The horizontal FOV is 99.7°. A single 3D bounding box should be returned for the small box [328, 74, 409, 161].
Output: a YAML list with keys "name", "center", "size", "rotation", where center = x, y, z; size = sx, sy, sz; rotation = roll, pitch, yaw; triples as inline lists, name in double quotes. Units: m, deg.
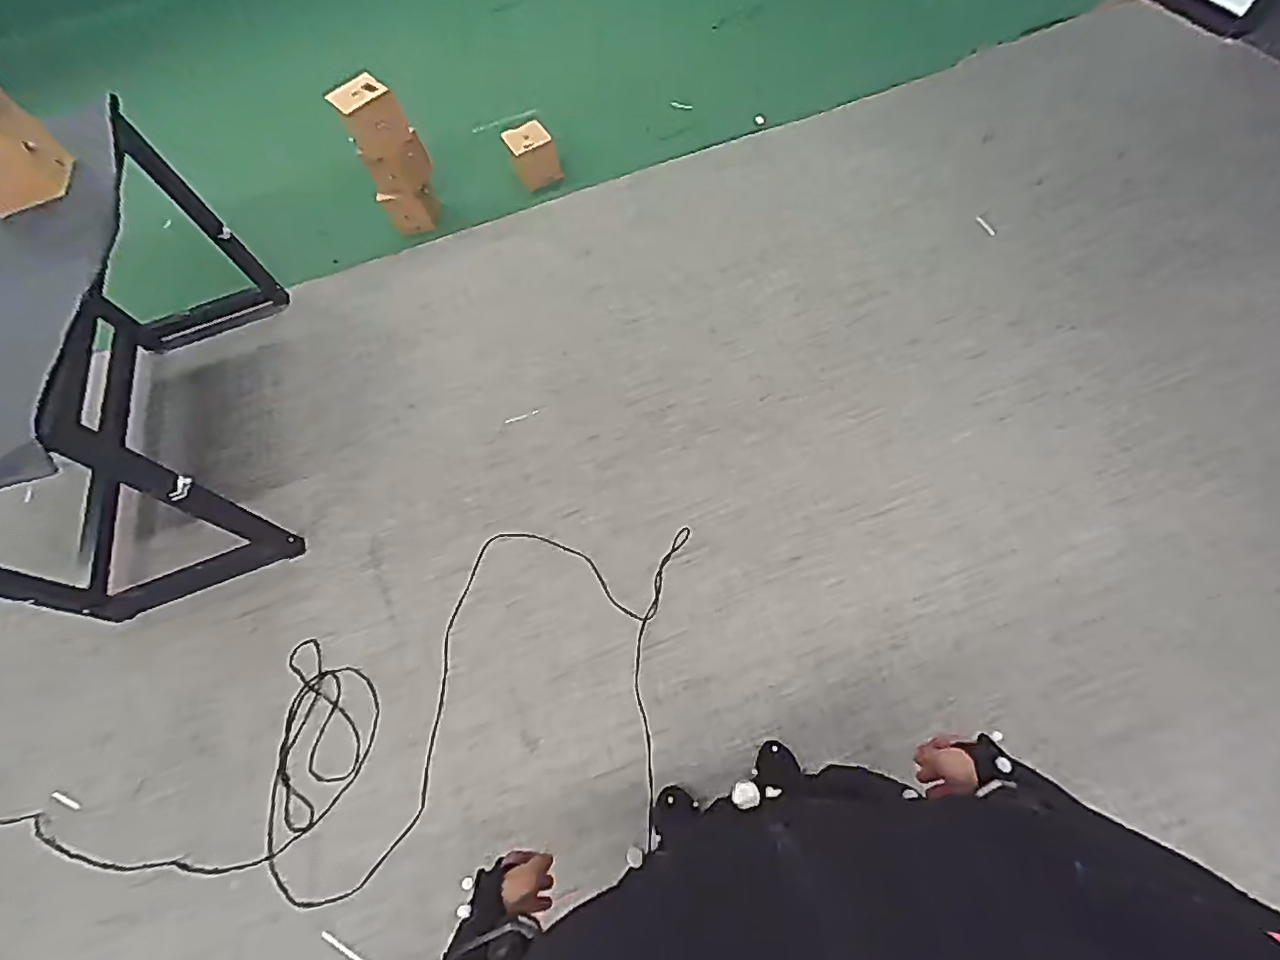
- name: "small box"
  center: [-0.950, -1.281, 1.916]
  size: [0.179, 0.176, 0.168]
  rotation: [-41, 67, -12]

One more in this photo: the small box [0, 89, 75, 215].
- name: "small box"
  center: [-1.507, -0.768, 1.276]
  size: [0.179, 0.176, 0.168]
  rotation: [-21, 63, -2]

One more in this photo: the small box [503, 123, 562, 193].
- name: "small box"
  center: [-0.445, -1.339, 2.251]
  size: [0.168, 0.176, 0.179]
  rotation: [-28, 63, -8]

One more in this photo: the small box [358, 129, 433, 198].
- name: "small box"
  center: [-0.924, -1.211, 2.063]
  size: [0.168, 0.176, 0.179]
  rotation: [14, 66, 12]

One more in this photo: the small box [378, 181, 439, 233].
- name: "small box"
  center: [-0.938, -1.134, 2.208]
  size: [0.168, 0.176, 0.179]
  rotation: [-5, 63, 4]
